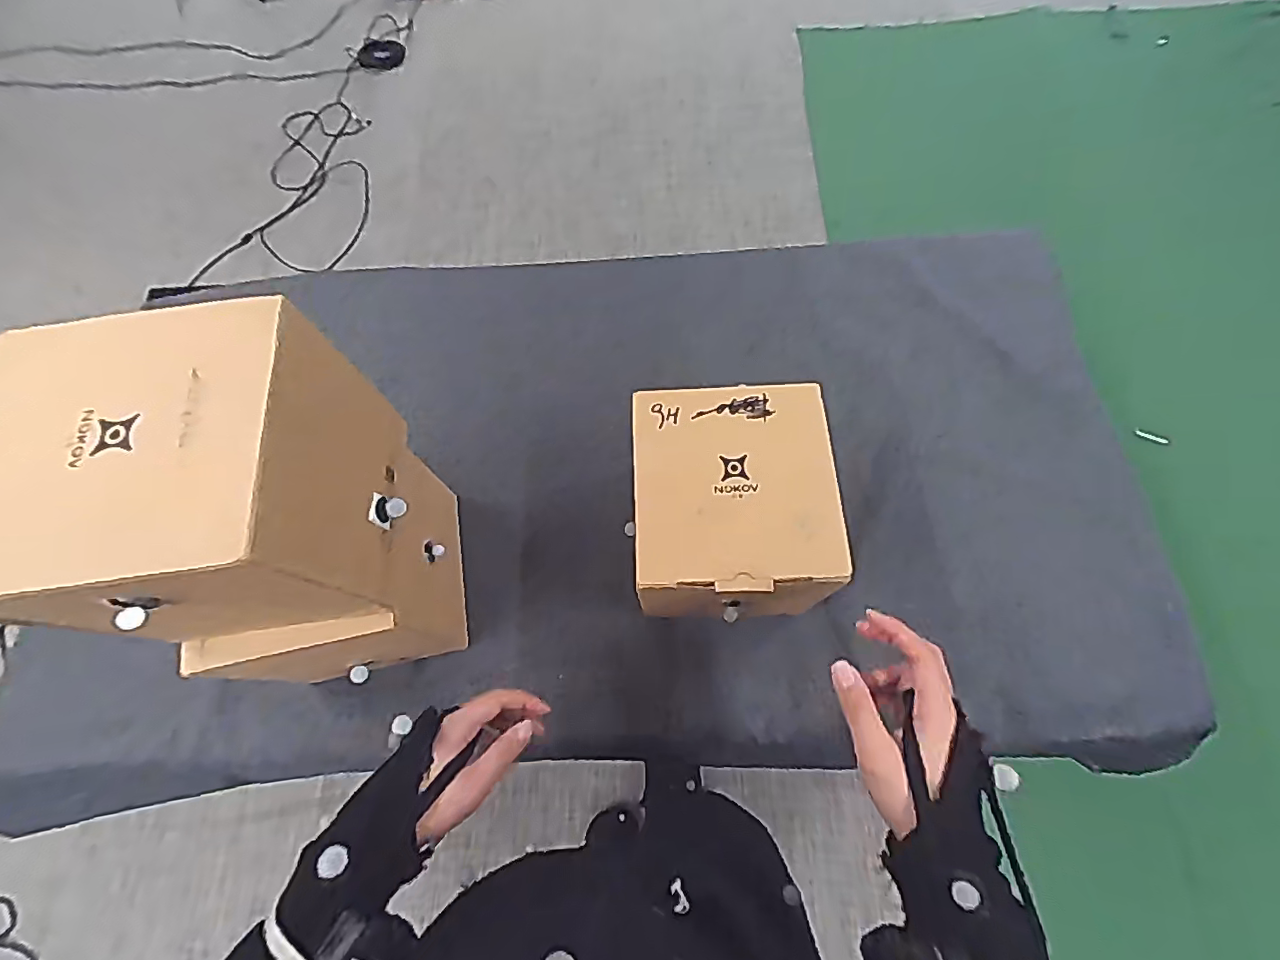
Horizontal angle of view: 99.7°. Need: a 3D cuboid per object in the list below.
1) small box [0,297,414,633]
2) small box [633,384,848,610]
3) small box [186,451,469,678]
[{"bbox_3d":[-0.278,0.005,0.370,0.179,0.176,0.168,-8,69,-2],"label":"small box"},{"bbox_3d":[0.082,0.028,0.520,0.168,0.176,0.179,-3,69,2],"label":"small box"},{"bbox_3d":[-0.274,0.080,0.515,0.168,0.176,0.179,-12,68,-2],"label":"small box"}]
